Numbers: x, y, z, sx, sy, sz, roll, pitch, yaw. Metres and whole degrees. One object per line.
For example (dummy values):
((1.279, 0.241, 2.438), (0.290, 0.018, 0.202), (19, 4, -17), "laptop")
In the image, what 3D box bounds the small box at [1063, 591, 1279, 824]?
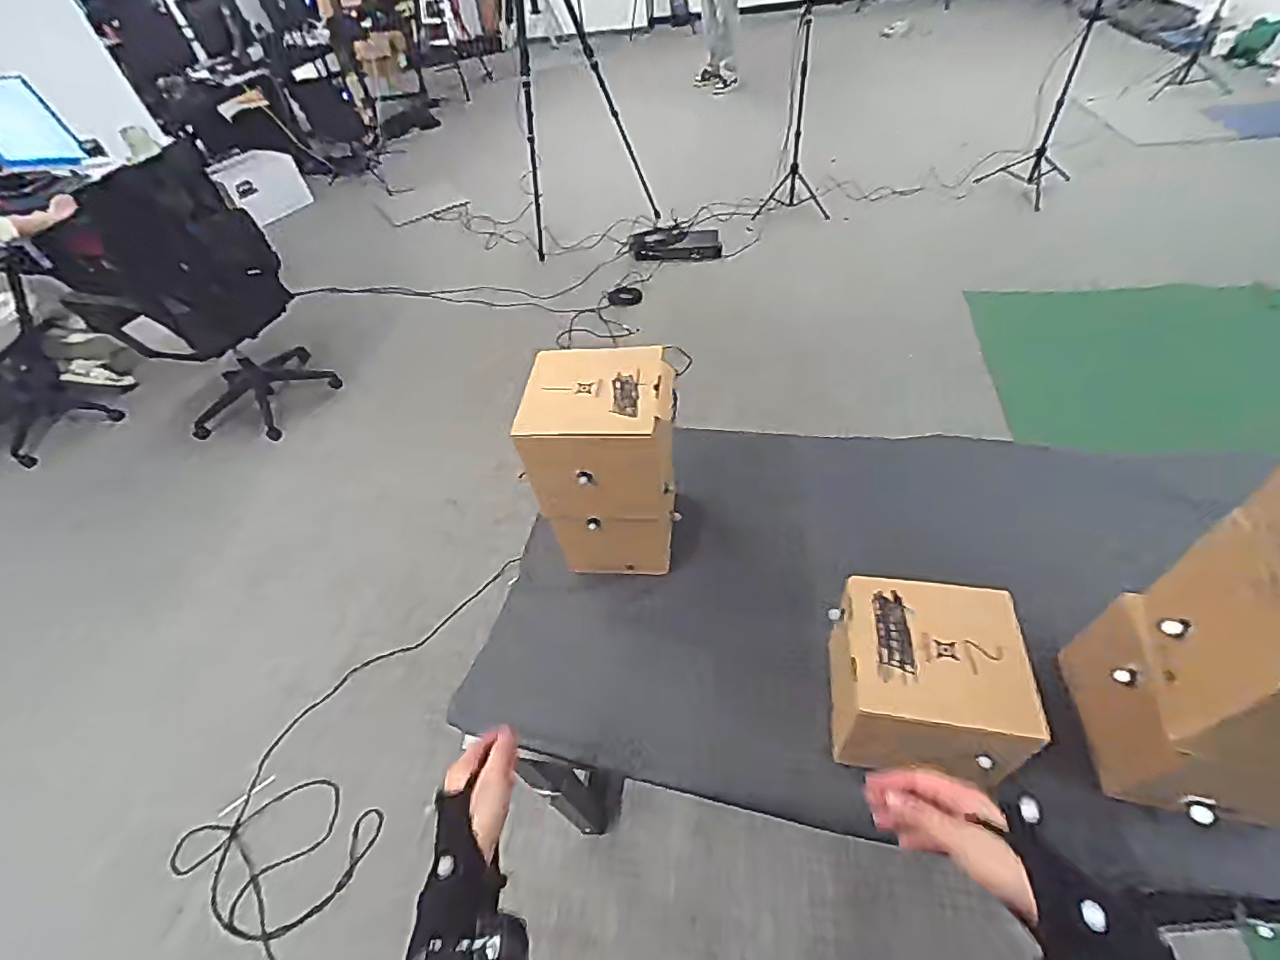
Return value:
((0.609, 0.246, 0.590), (0.168, 0.176, 0.179), (3, 49, 13), "small box")

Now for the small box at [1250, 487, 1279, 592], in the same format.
((0.571, 0.037, 0.341), (0.179, 0.176, 0.168), (12, 50, 21), "small box")

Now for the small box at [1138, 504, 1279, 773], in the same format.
((0.587, 0.149, 0.461), (0.179, 0.176, 0.168), (11, 50, 20), "small box")

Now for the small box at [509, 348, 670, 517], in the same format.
((-0.054, -0.061, 0.741), (0.179, 0.176, 0.168), (0, 51, 9), "small box")

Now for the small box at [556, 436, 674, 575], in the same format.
((-0.034, 0.033, 0.876), (0.168, 0.176, 0.179), (0, 50, 8), "small box")
